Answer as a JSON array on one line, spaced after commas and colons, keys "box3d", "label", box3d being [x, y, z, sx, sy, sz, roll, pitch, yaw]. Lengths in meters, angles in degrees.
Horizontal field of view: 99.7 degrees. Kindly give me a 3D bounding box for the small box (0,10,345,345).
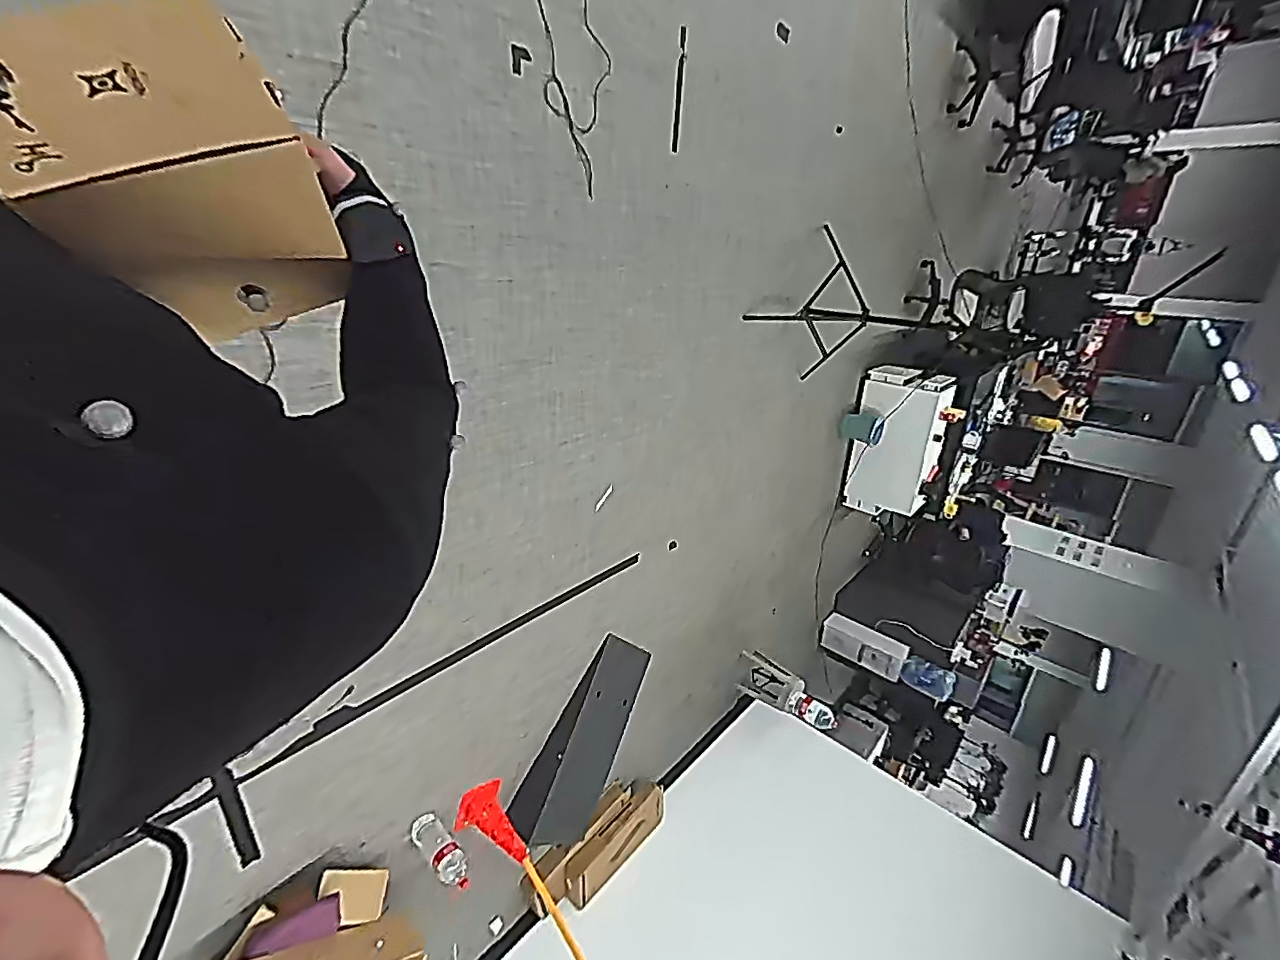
[{"box3d": [-0.381, -0.249, 0.465, 0.179, 0.168, 0.176, -29, 167, -22], "label": "small box"}]
